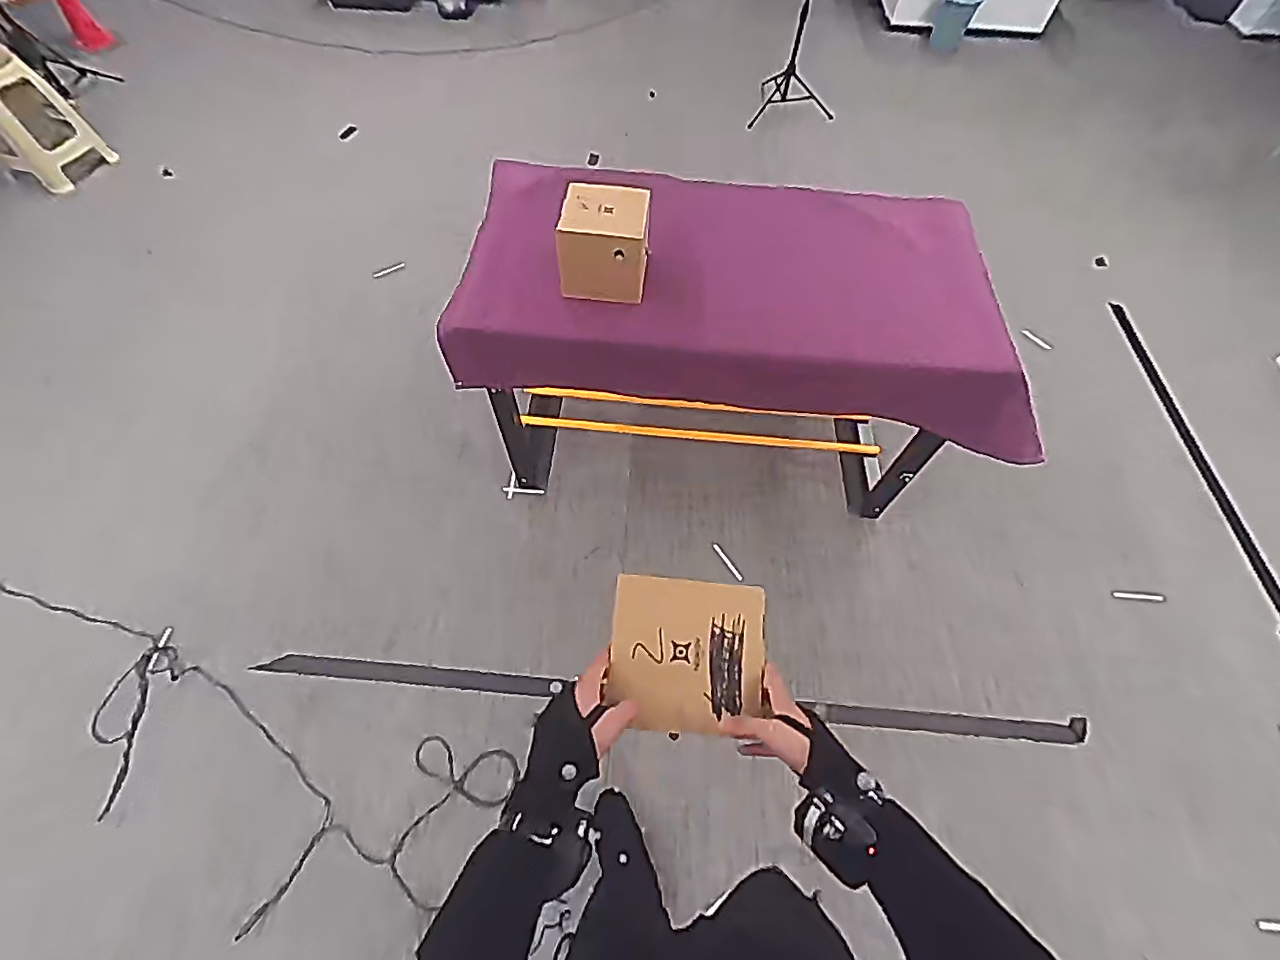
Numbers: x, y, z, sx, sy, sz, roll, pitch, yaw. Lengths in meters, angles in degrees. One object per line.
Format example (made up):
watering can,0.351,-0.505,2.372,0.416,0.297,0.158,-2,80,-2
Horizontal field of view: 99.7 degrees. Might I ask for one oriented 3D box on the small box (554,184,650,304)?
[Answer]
small box,-0.077,-0.504,1.168,0.179,0.176,0.168,6,59,1
